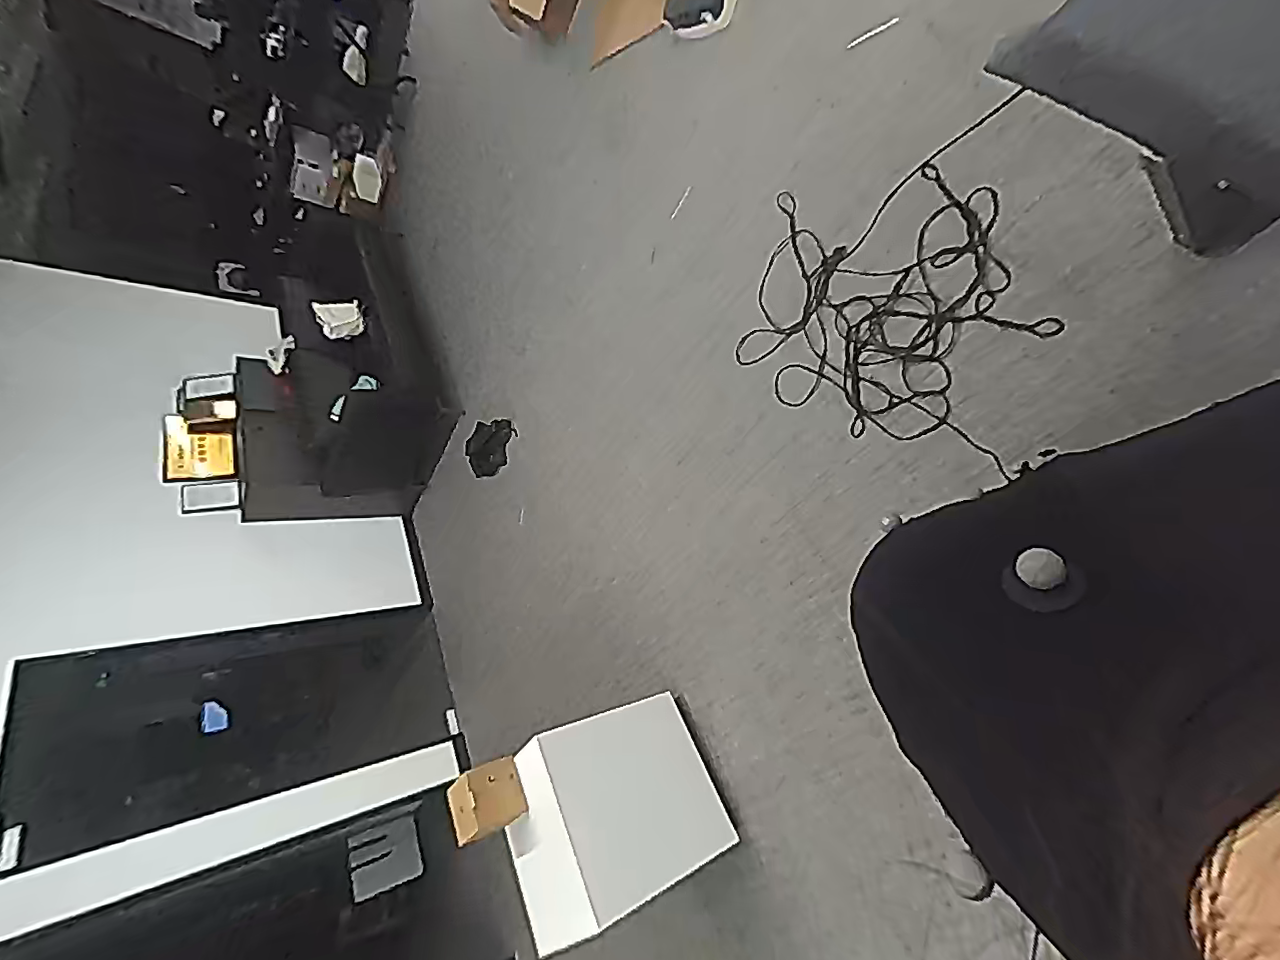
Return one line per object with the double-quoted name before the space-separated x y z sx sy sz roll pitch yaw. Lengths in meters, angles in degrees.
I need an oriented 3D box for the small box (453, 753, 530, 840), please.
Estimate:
"small box" -0.460 0.984 1.691 0.179 0.176 0.168 -54 51 35
